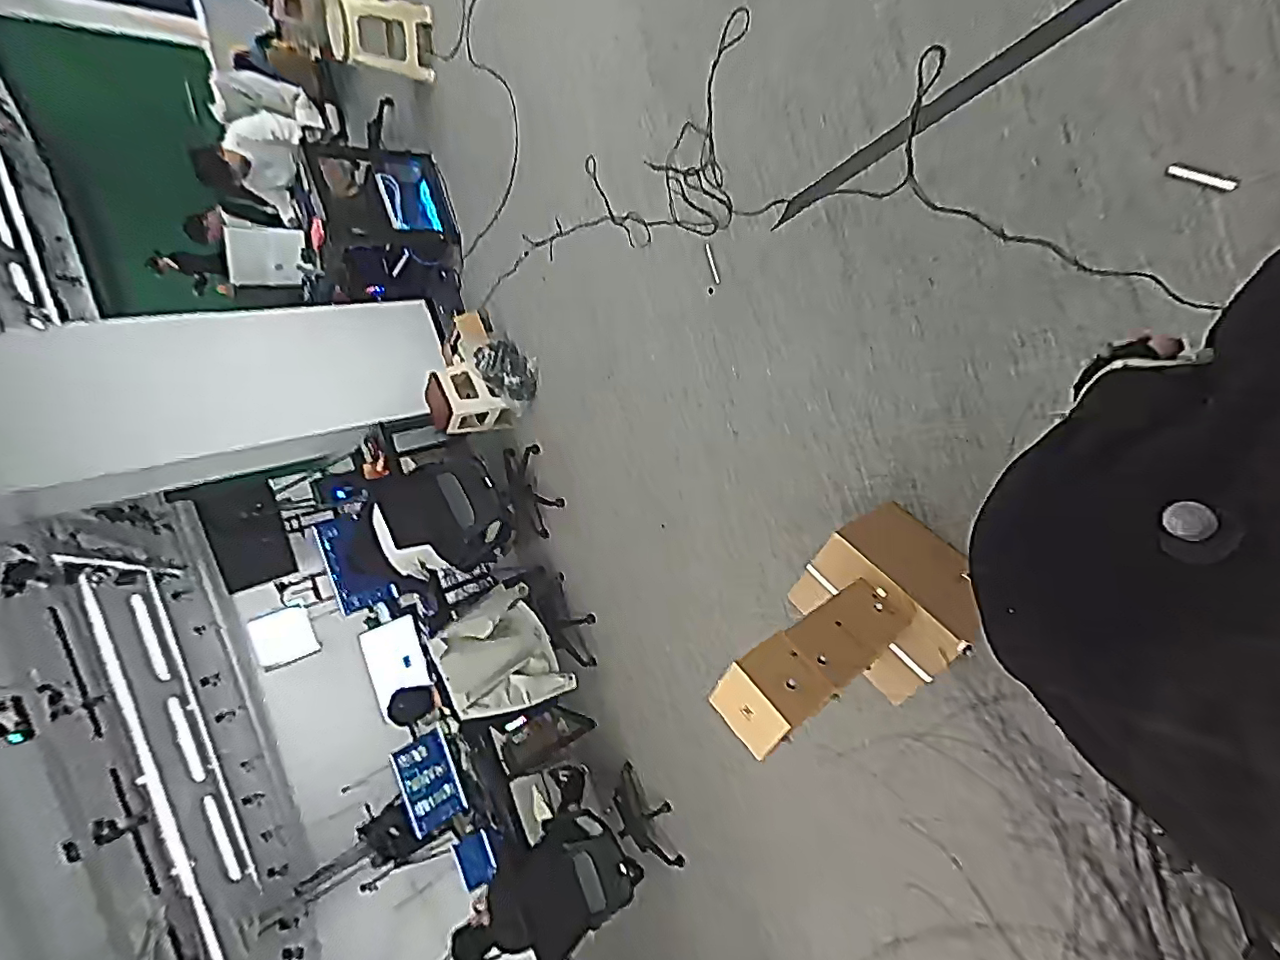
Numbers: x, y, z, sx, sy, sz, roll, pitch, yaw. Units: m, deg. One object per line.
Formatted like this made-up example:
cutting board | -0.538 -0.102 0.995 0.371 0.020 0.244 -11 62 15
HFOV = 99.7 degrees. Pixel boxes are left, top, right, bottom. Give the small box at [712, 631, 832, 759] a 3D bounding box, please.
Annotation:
small box | 0.295 0.470 1.201 0.168 0.176 0.179 46 138 31

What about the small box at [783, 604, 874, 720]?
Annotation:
small box | 0.423 0.431 1.293 0.168 0.176 0.179 46 139 31

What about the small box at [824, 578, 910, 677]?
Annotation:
small box | 0.551 0.385 1.385 0.168 0.176 0.179 46 138 31
